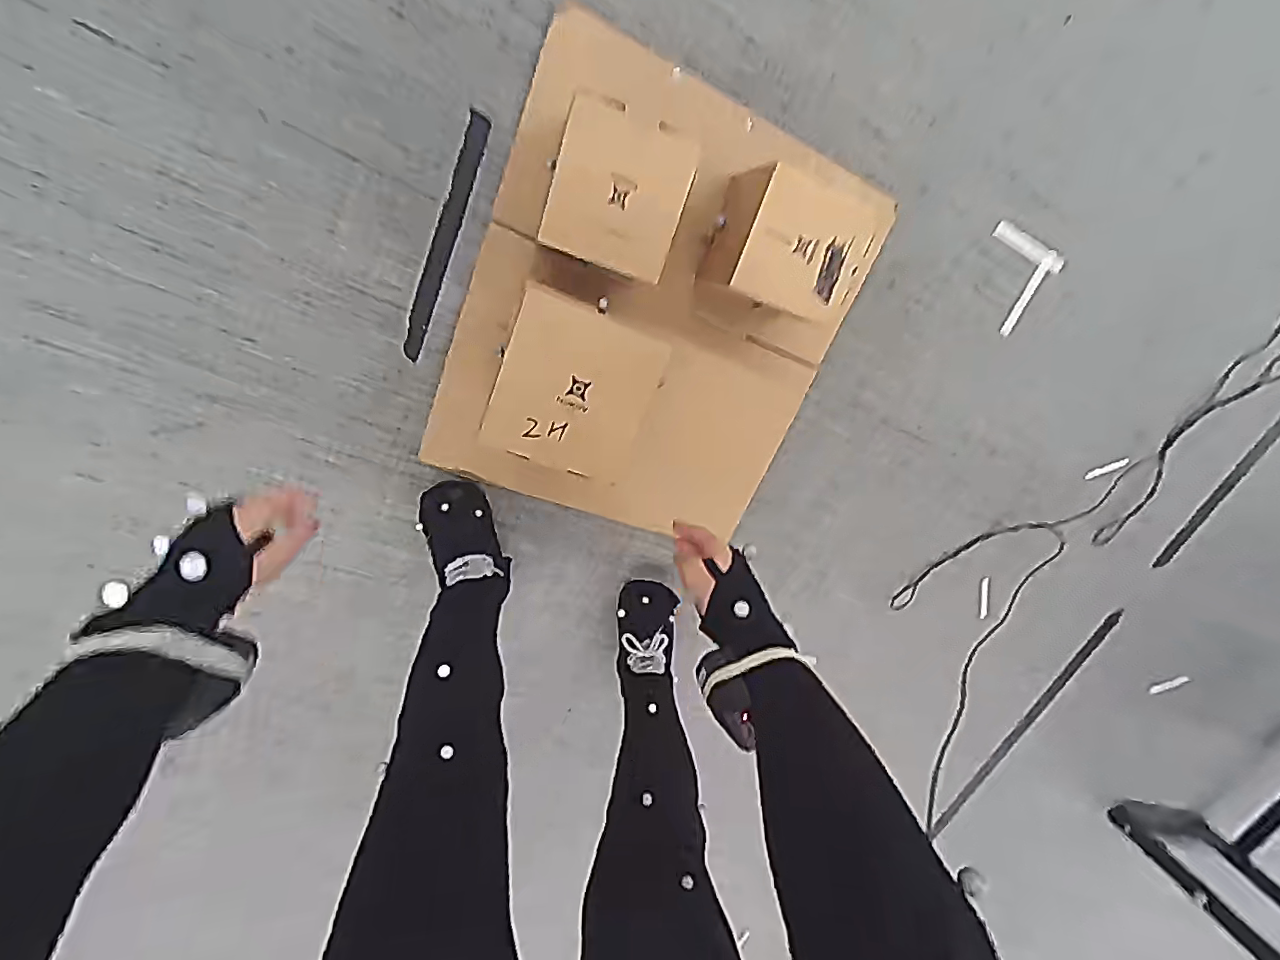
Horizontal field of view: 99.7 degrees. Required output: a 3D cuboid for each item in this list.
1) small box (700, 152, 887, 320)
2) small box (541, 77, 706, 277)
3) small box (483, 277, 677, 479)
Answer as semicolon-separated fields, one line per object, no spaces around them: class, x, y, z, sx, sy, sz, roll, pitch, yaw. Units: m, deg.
small box;0.214;-0.355;0.801;0.179;0.176;0.168;14;109;-18
small box;-0.036;-0.392;0.732;0.168;0.176;0.179;14;110;-17
small box;-0.079;-0.130;0.650;0.168;0.176;0.179;18;108;-18
